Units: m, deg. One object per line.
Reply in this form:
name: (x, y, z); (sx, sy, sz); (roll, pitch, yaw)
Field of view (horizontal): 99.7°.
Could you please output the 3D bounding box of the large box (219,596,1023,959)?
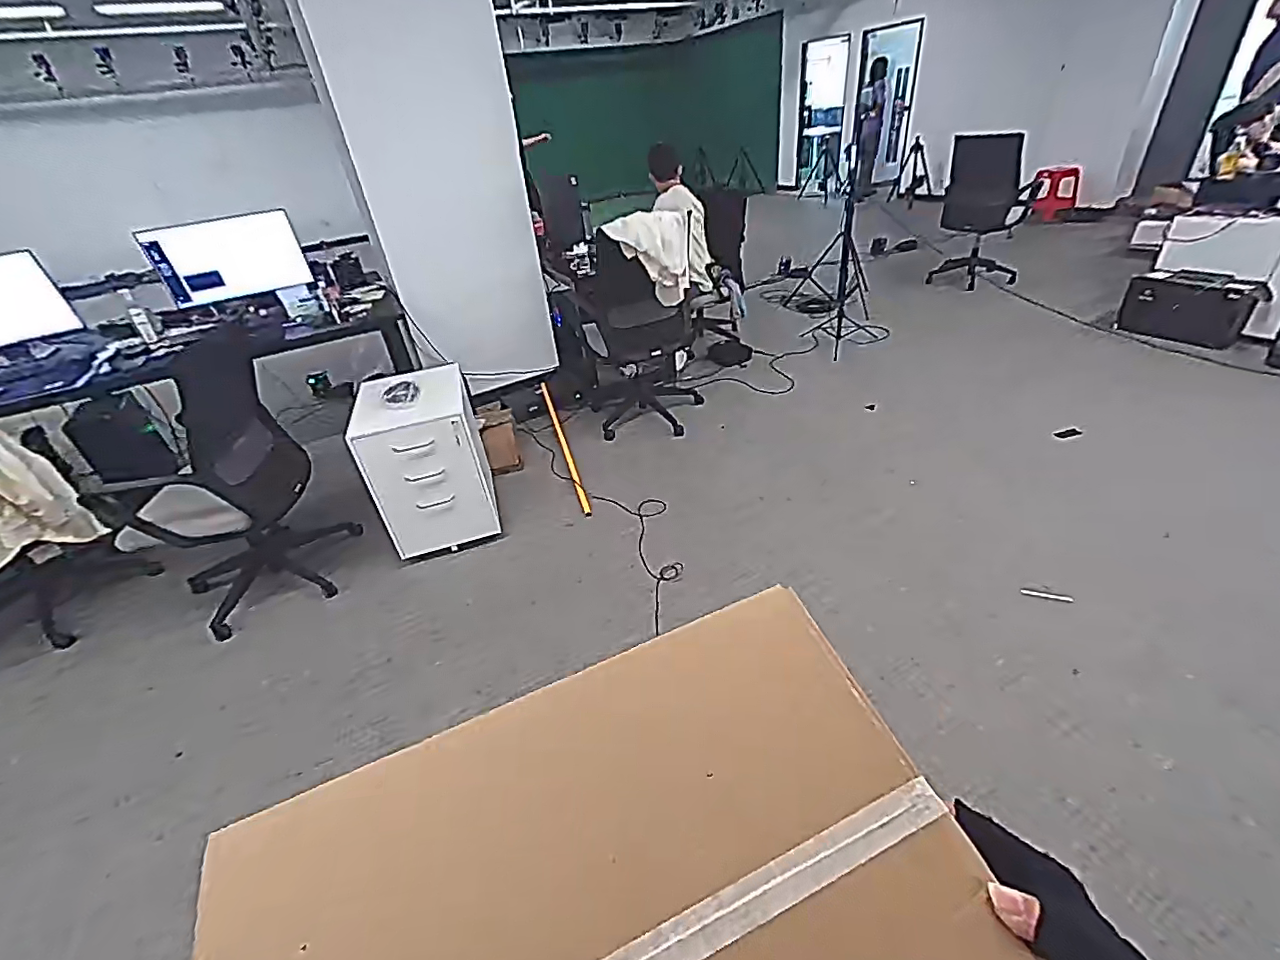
large box: (-0.005, 0.355, 0.400); (0.408, 0.320, 0.320); (-21, 50, -12)
